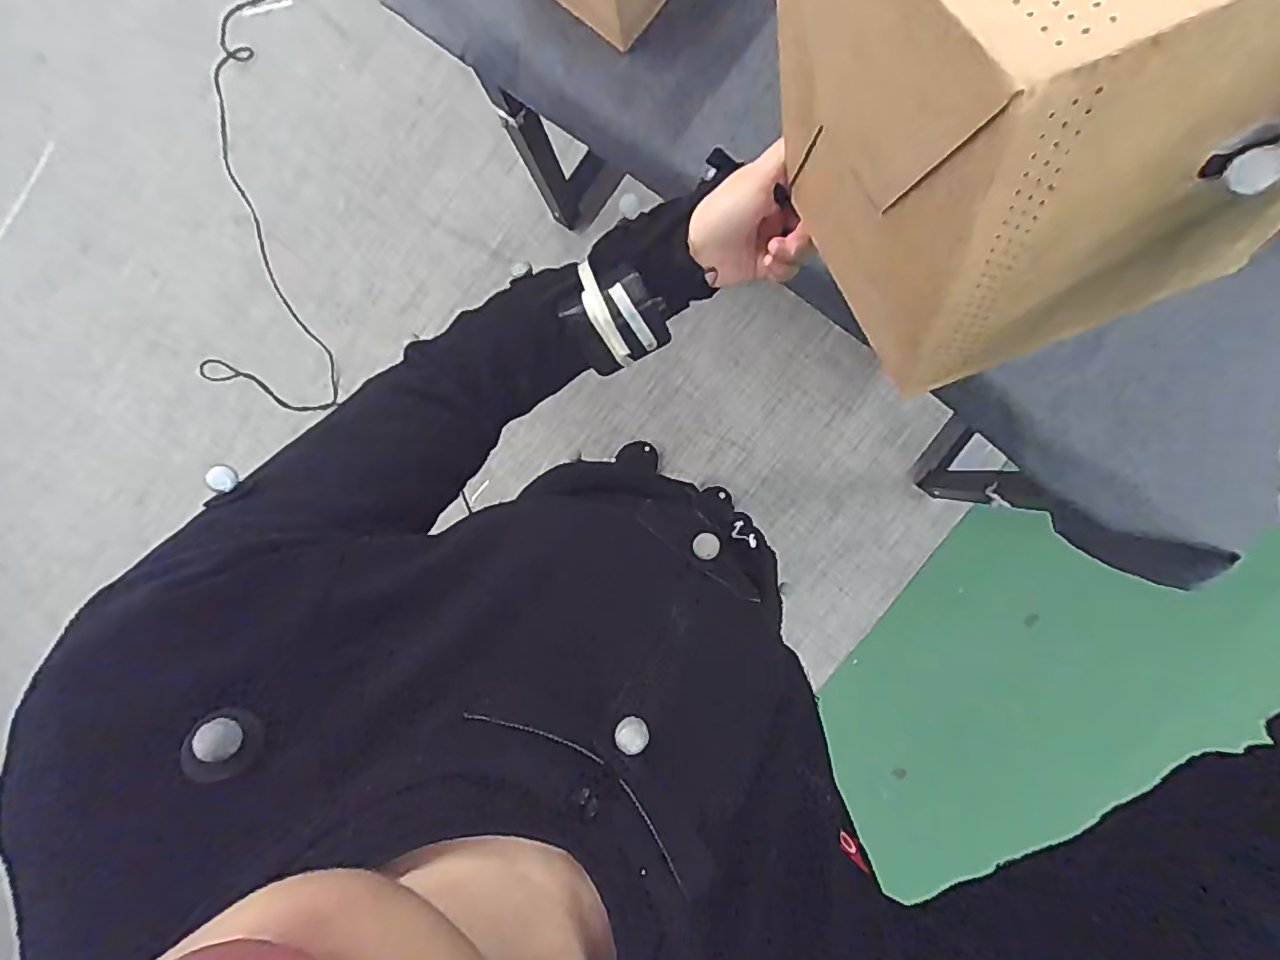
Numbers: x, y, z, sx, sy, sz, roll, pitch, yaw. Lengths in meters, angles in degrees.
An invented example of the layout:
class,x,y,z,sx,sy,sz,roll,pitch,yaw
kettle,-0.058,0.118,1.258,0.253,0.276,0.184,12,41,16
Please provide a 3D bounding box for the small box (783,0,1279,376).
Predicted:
class,x,y,z,sx,sy,sz,roll,pitch,yaw
small box,0.169,-0.170,0.229,0.176,0.179,0.168,-22,68,9

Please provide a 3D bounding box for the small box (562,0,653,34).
class,x,y,z,sx,sy,sz,roll,pitch,yaw
small box,-0.038,-0.610,0.542,0.179,0.176,0.168,39,92,2
